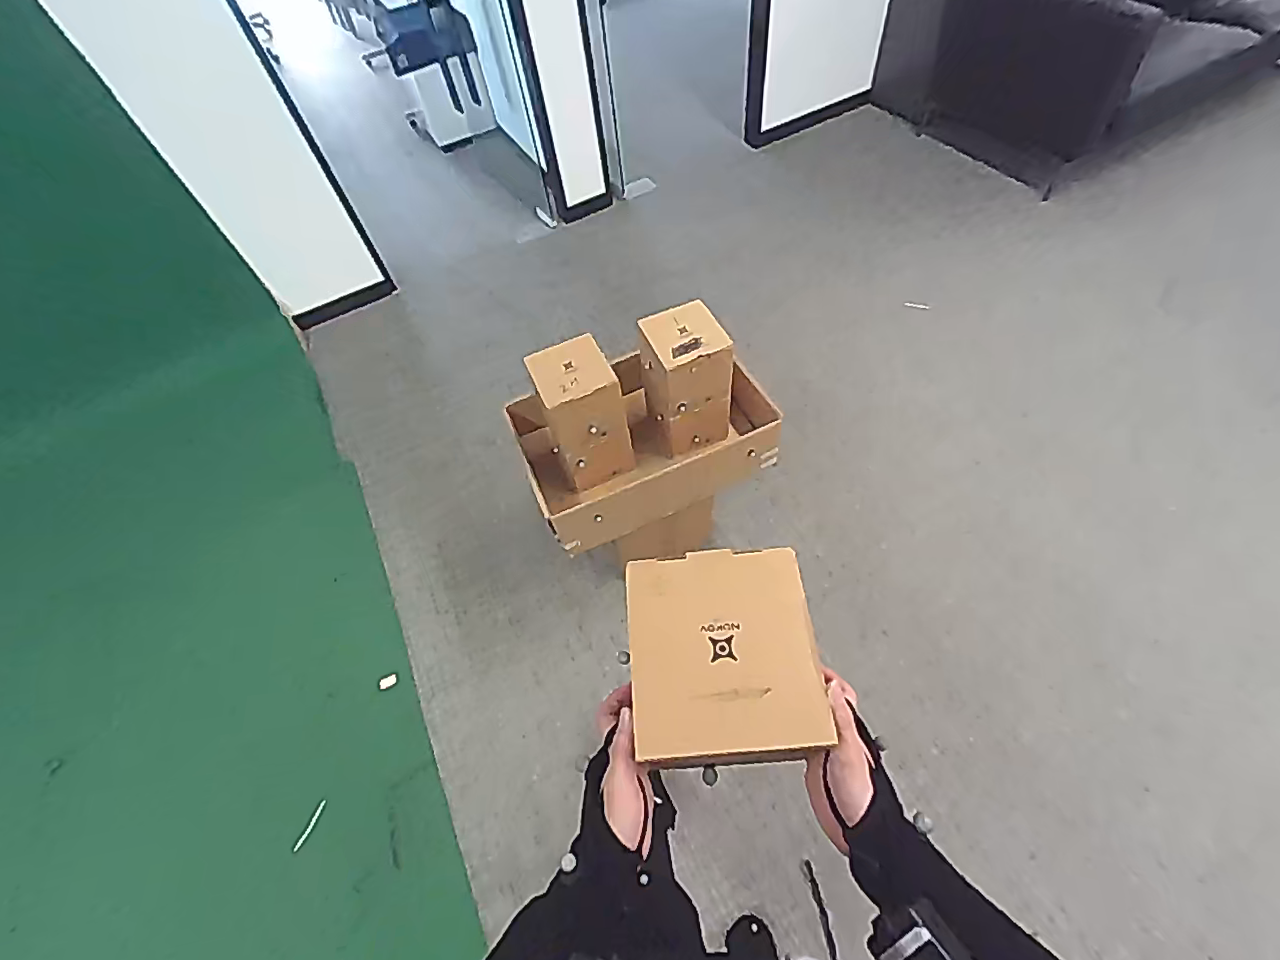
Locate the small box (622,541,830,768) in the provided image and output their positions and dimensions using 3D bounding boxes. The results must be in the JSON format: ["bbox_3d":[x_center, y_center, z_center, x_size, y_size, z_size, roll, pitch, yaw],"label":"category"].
[{"bbox_3d":[0.071,0.179,0.539,0.168,0.176,0.179,-5,58,2],"label":"small box"}]

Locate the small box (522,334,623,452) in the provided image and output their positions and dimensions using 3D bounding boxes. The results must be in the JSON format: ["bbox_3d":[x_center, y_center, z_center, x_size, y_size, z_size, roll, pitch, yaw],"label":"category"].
[{"bbox_3d":[-0.151,-0.195,1.239,0.168,0.176,0.179,-23,57,-8],"label":"small box"}]

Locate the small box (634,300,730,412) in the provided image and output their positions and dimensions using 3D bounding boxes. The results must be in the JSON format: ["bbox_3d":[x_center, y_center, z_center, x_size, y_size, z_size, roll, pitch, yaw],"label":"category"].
[{"bbox_3d":[0.100,-0.282,1.270,0.168,0.176,0.179,-21,56,-8],"label":"small box"}]

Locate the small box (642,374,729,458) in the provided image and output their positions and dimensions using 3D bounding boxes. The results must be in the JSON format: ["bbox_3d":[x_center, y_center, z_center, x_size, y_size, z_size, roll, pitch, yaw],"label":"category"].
[{"bbox_3d":[0.115,-0.190,1.406,0.168,0.176,0.179,-22,57,-8],"label":"small box"}]
